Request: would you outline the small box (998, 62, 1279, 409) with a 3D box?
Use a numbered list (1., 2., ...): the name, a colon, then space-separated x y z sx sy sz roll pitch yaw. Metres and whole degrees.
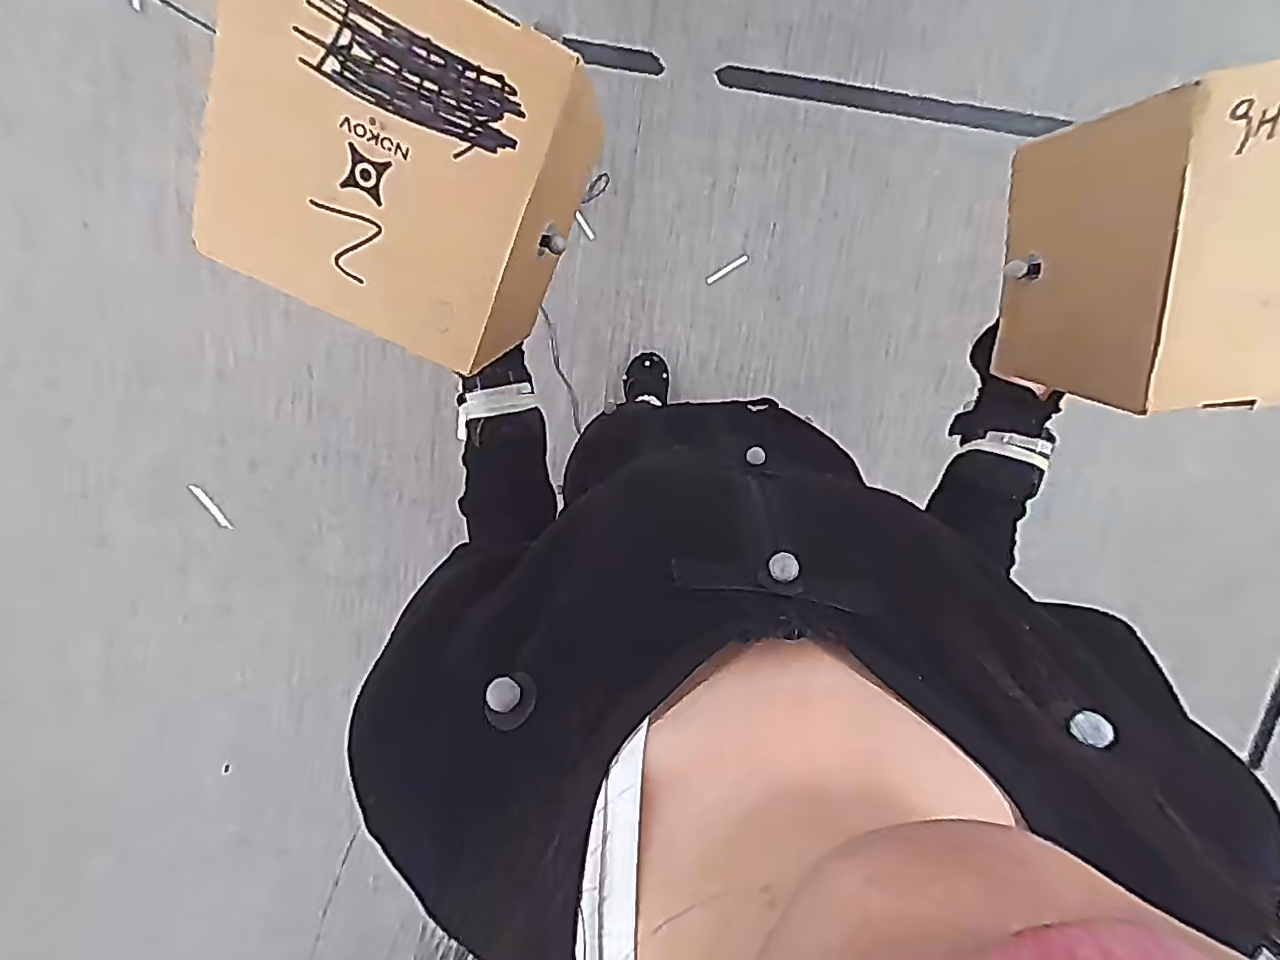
1. small box: 0.374 -0.160 0.365 0.168 0.176 0.179 -6 110 7
